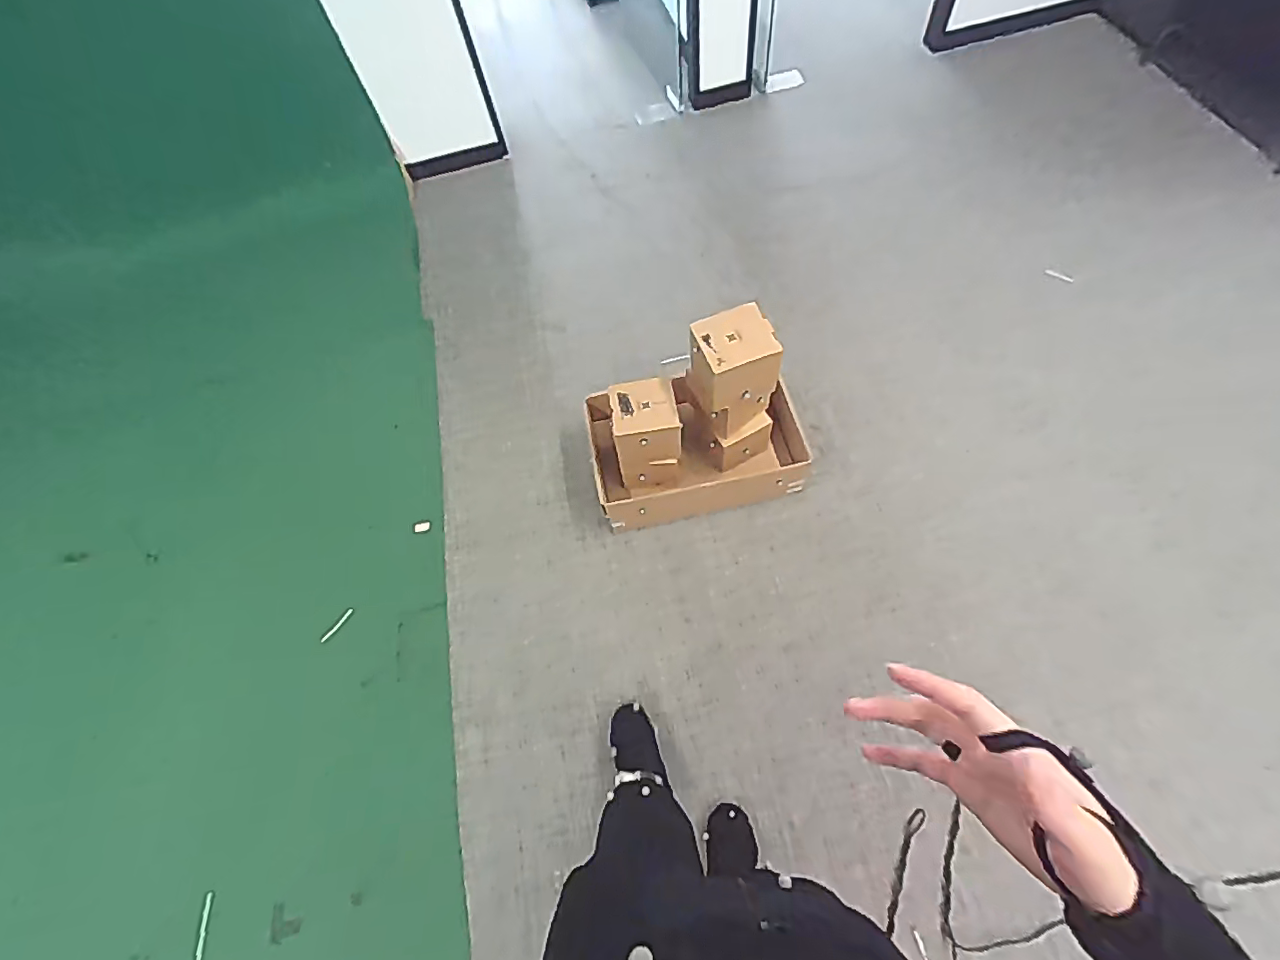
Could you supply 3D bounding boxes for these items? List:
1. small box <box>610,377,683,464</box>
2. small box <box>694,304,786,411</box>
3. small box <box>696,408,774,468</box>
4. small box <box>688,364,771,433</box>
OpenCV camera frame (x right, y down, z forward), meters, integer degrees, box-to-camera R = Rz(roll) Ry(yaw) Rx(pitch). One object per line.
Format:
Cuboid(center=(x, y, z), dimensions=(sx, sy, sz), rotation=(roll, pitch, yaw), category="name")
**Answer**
Cuboid(center=(0.021, -0.158, 1.491), dimensions=(0.179, 0.176, 0.168), rotation=(-8, 62, 1), category="small box")
Cuboid(center=(0.240, -0.303, 1.356), dimensions=(0.179, 0.176, 0.168), rotation=(-19, 63, -4), category="small box")
Cuboid(center=(0.286, -0.158, 1.645), dimensions=(0.168, 0.176, 0.179), rotation=(-27, 63, -6), category="small box")
Cuboid(center=(0.254, -0.254, 1.513), dimensions=(0.168, 0.176, 0.179), rotation=(-37, 65, -11), category="small box")
